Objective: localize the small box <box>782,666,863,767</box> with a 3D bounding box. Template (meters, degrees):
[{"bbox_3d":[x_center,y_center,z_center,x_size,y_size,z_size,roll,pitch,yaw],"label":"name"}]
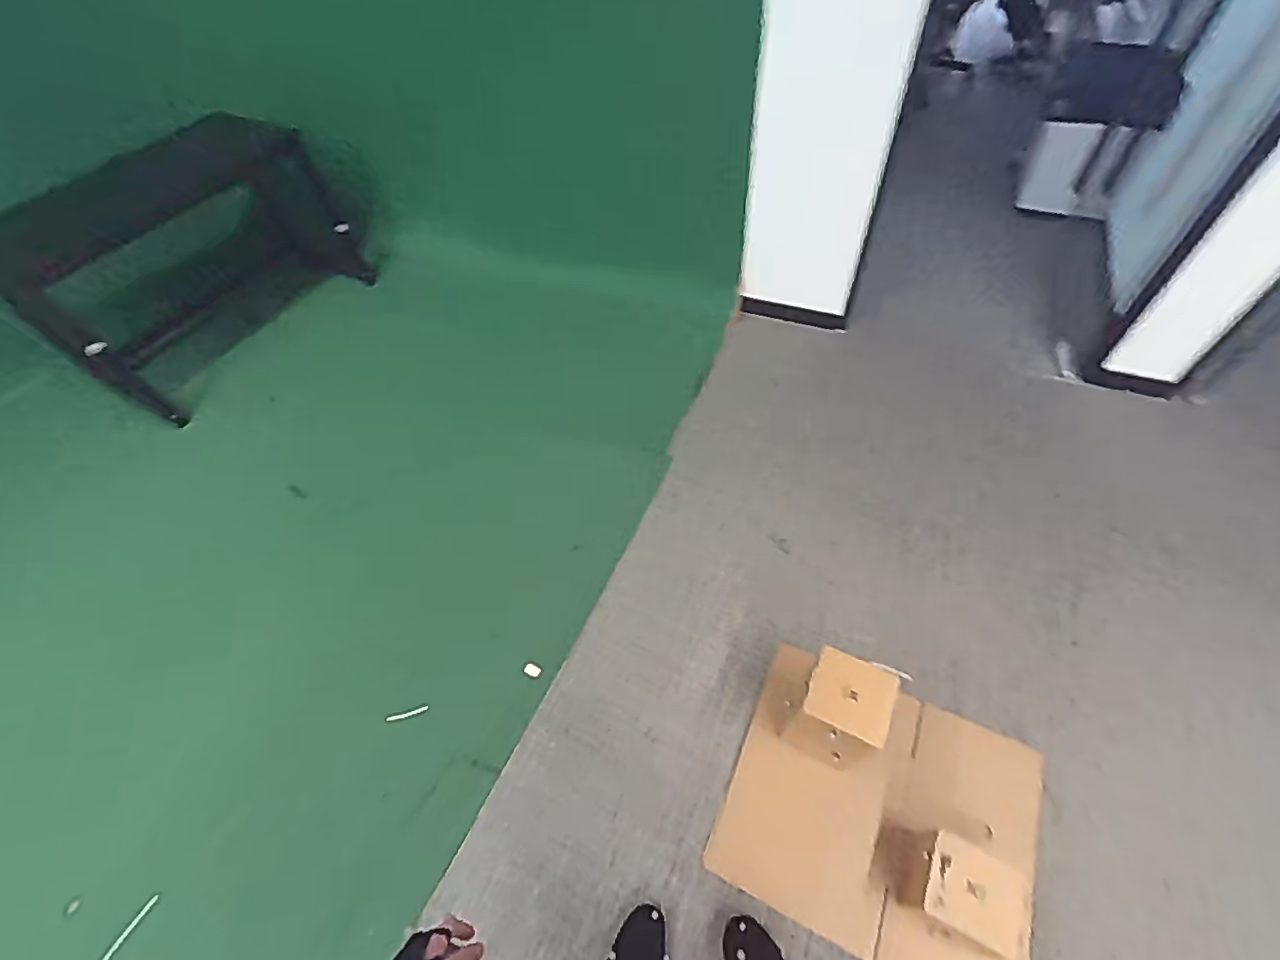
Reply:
[{"bbox_3d":[0.483,0.612,1.386,0.179,0.176,0.168,21,58,20],"label":"small box"}]

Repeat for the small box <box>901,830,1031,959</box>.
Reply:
[{"bbox_3d":[0.696,0.890,1.167,0.179,0.176,0.168,22,59,20],"label":"small box"}]

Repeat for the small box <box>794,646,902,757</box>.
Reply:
[{"bbox_3d":[0.476,0.519,1.253,0.179,0.176,0.168,21,59,20],"label":"small box"}]
